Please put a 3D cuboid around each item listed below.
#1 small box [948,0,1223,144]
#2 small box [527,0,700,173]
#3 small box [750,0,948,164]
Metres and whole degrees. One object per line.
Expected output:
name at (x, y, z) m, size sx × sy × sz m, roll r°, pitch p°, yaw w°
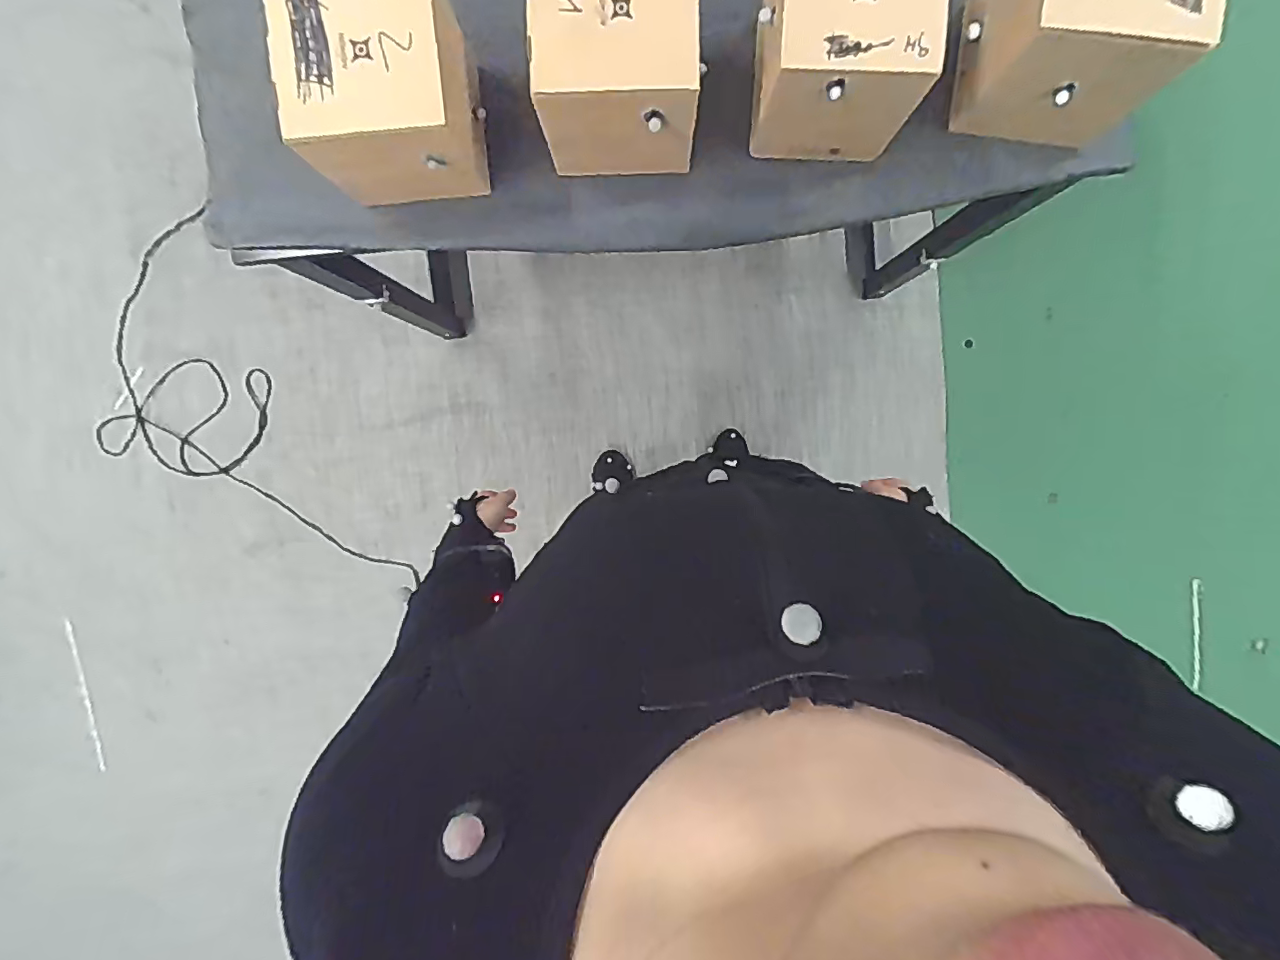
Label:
small box at (0.486, -0.510, 0.604) m, size 0.179 × 0.176 × 0.168 m, roll 8°, pitch 91°, yaw 2°
small box at (-0.025, -0.478, 0.624) m, size 0.179 × 0.176 × 0.168 m, roll 0°, pitch 93°, yaw 3°
small box at (0.225, -0.498, 0.616) m, size 0.168 × 0.176 × 0.179 m, roll 3°, pitch 93°, yaw 1°
